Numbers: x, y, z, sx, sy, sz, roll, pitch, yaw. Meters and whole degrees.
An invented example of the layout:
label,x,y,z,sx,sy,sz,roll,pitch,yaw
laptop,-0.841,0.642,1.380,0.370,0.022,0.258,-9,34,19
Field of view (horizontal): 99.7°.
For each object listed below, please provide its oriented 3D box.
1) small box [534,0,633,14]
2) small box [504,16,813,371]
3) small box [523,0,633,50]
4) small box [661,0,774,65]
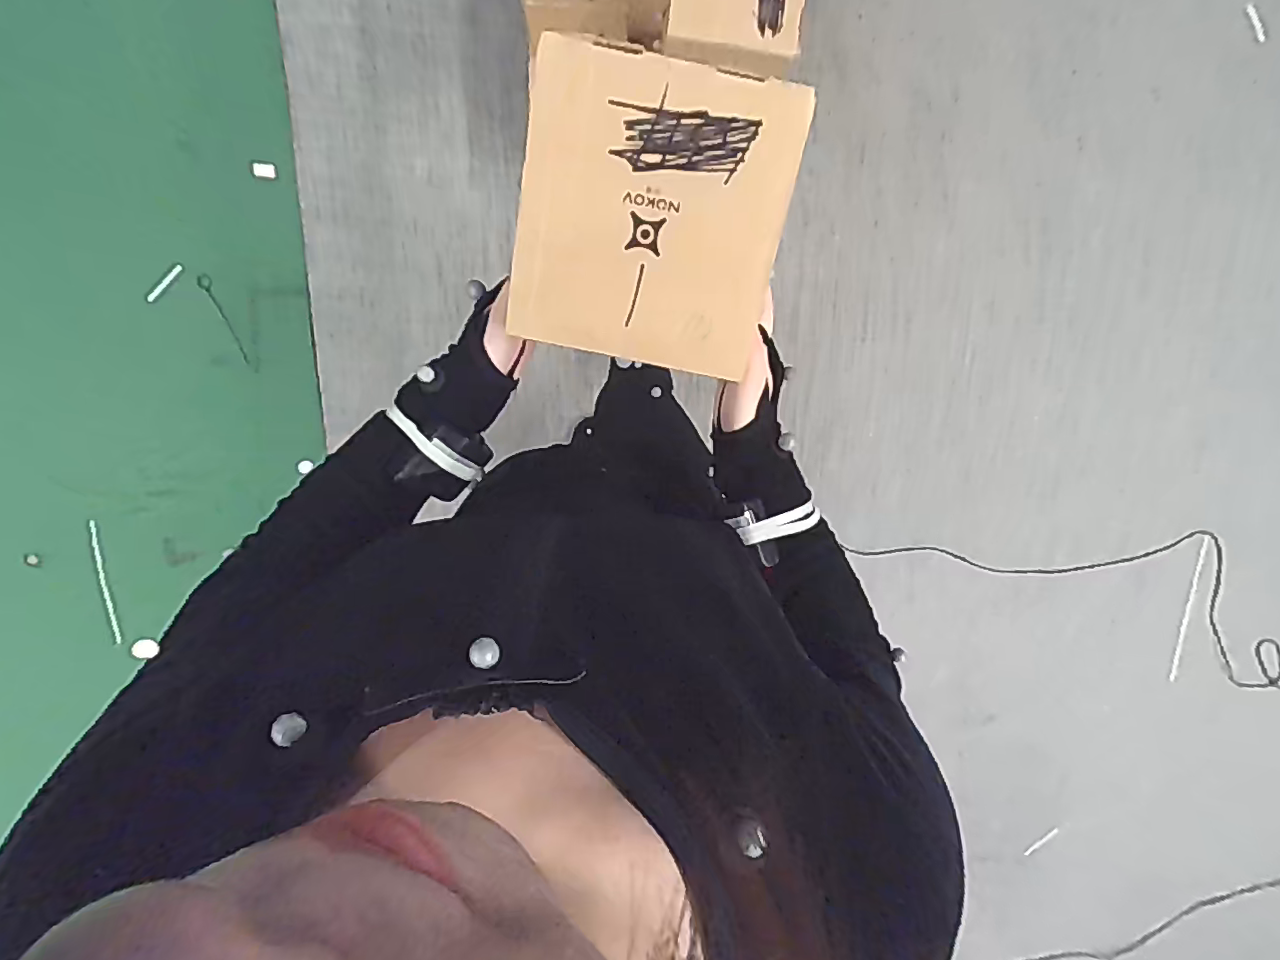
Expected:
label,x,y,z,sx,sy,sz,roll,pitch,yaw
small box,-0.084,-0.793,0.737,0.168,0.176,0.179,3,102,-3
small box,0.008,-0.193,0.413,0.168,0.176,0.179,12,107,-1
small box,-0.095,-0.824,0.896,0.168,0.176,0.179,4,101,-3
small box,0.116,-0.703,0.929,0.168,0.176,0.179,5,101,-4
